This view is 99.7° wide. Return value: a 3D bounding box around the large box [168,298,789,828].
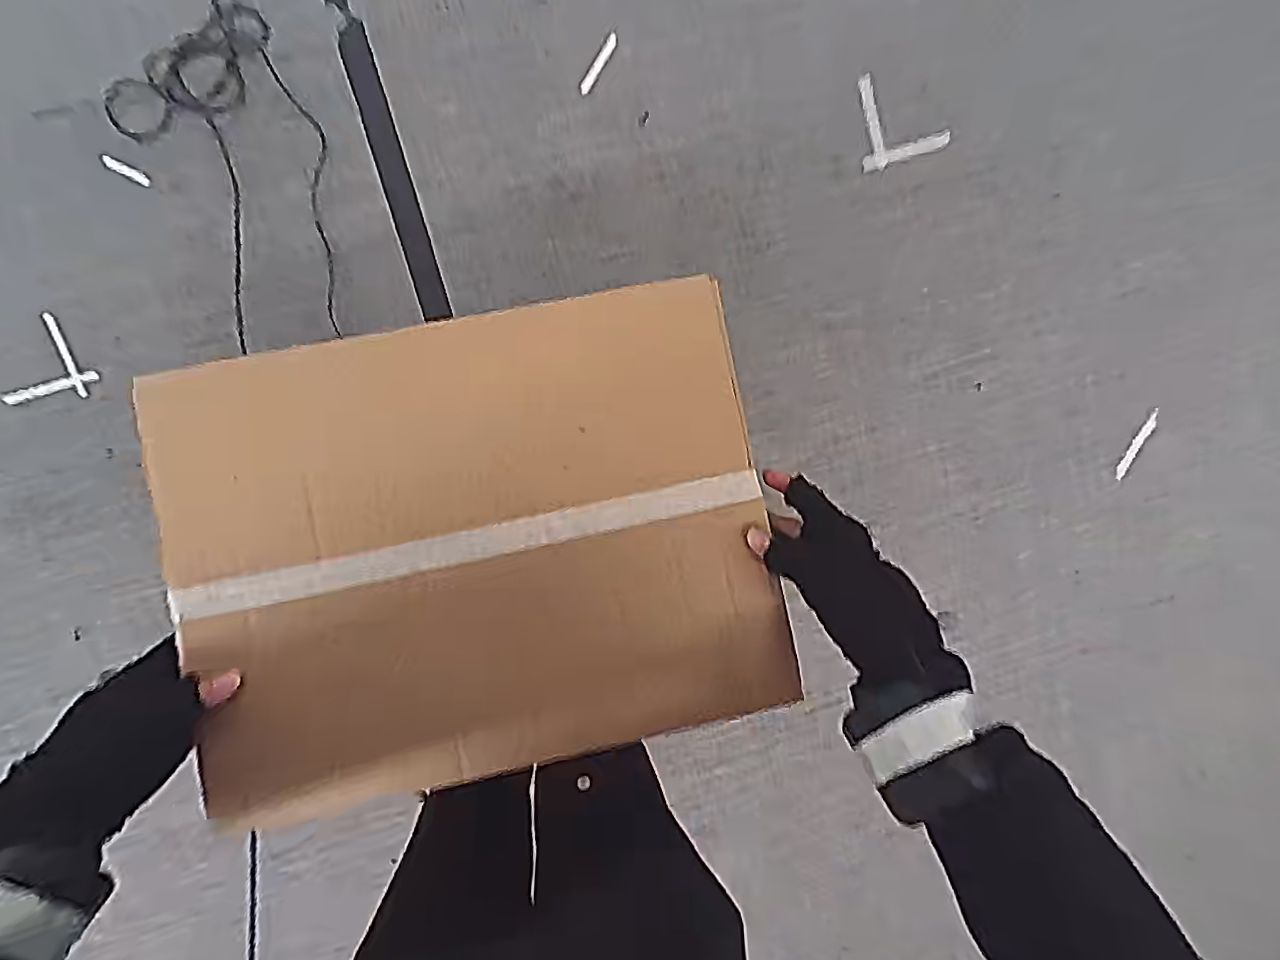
[{"bbox_3d":[-0.119,0.058,0.539,0.408,0.320,0.320,-12,87,-3],"label":"large box"}]
